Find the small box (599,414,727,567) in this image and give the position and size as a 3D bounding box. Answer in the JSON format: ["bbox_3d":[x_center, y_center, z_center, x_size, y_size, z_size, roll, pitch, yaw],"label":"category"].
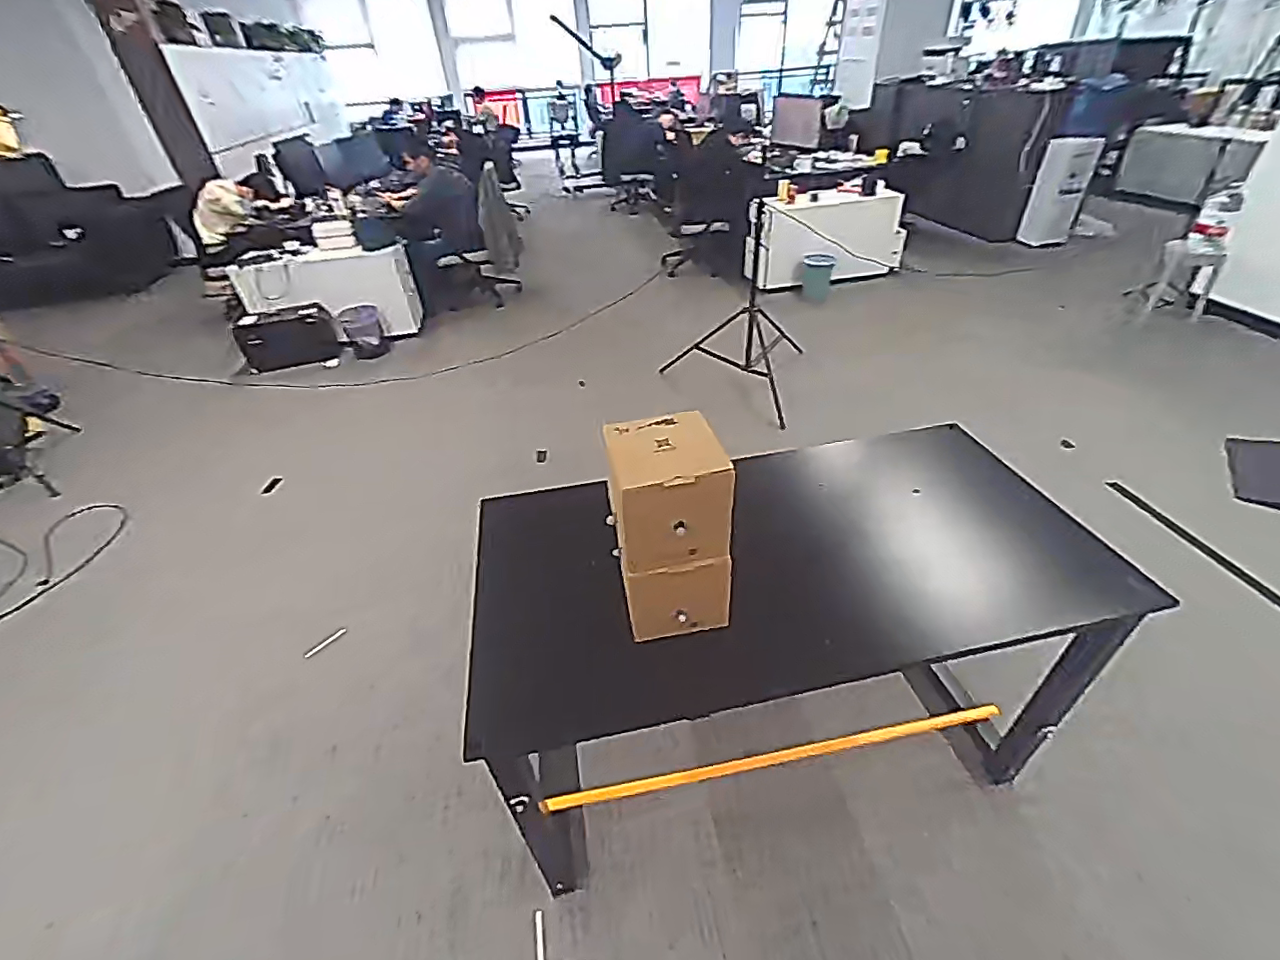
[{"bbox_3d":[0.036,0.021,0.866,0.168,0.176,0.179,-10,38,-7],"label":"small box"}]

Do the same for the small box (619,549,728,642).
[{"bbox_3d":[0.051,0.156,0.958,0.168,0.176,0.179,-9,38,-5],"label":"small box"}]
